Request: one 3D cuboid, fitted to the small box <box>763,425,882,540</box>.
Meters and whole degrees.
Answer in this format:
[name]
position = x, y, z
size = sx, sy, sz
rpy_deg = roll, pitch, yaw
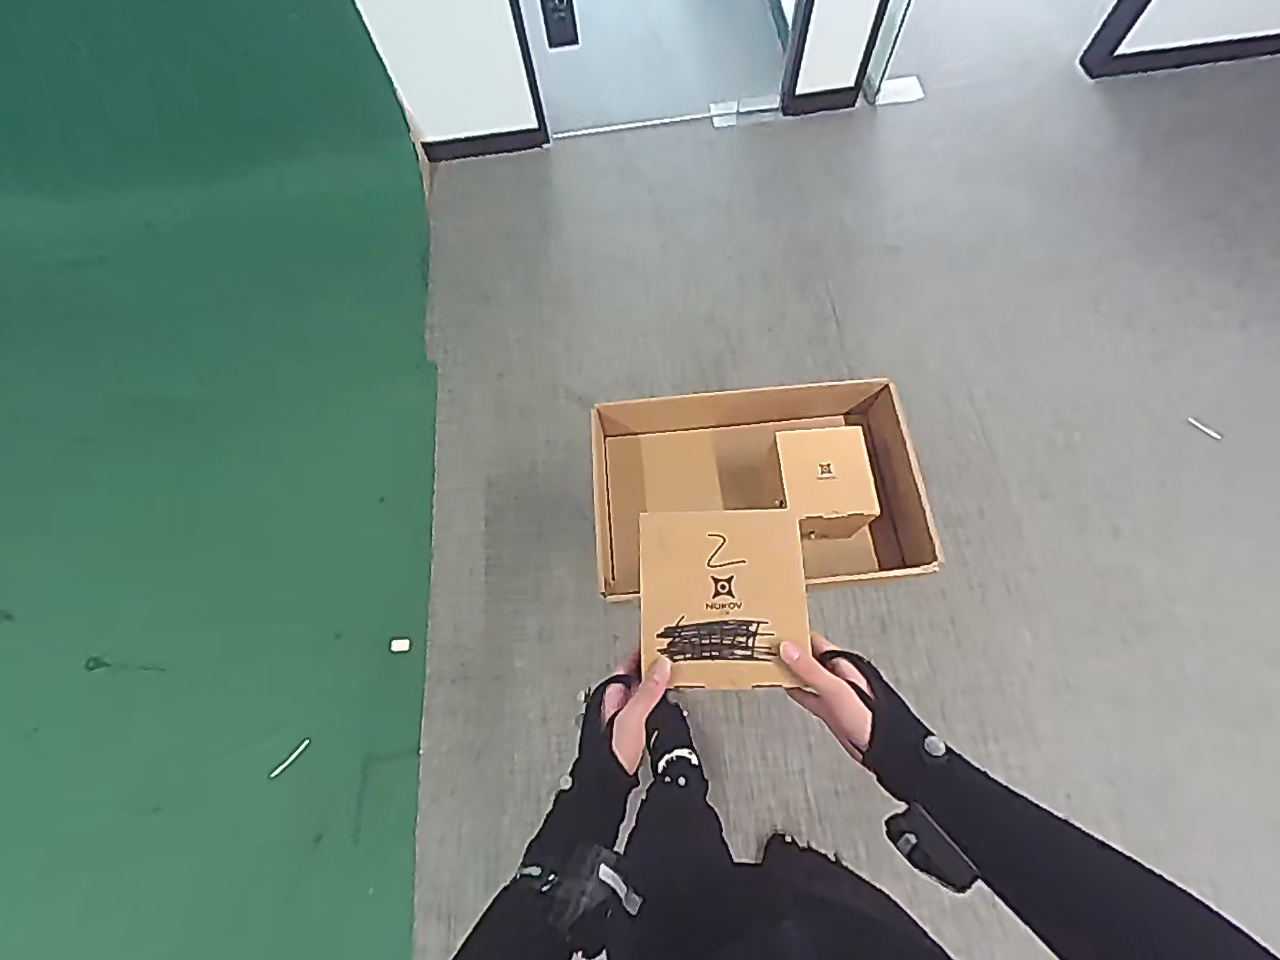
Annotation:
[small box]
position = 0.345, 0.010, 1.062
size = 0.168, 0.176, 0.179
rpy_deg = -4, 70, 0
